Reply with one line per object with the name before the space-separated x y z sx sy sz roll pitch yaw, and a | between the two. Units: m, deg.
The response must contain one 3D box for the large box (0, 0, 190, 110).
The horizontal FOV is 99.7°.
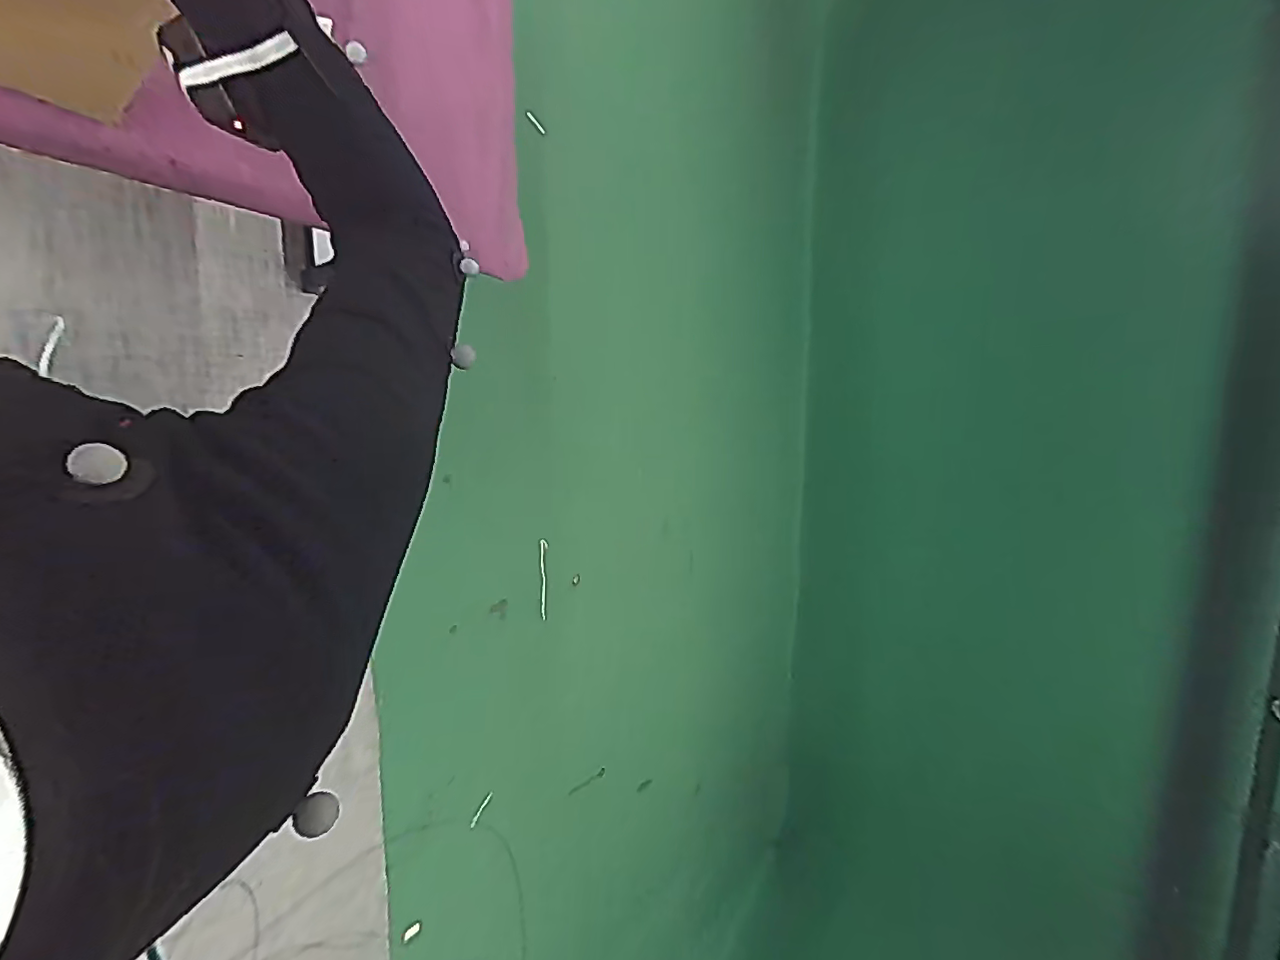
large box | -0.516 -0.556 0.336 0.320 0.320 0.408 -4 98 -52
